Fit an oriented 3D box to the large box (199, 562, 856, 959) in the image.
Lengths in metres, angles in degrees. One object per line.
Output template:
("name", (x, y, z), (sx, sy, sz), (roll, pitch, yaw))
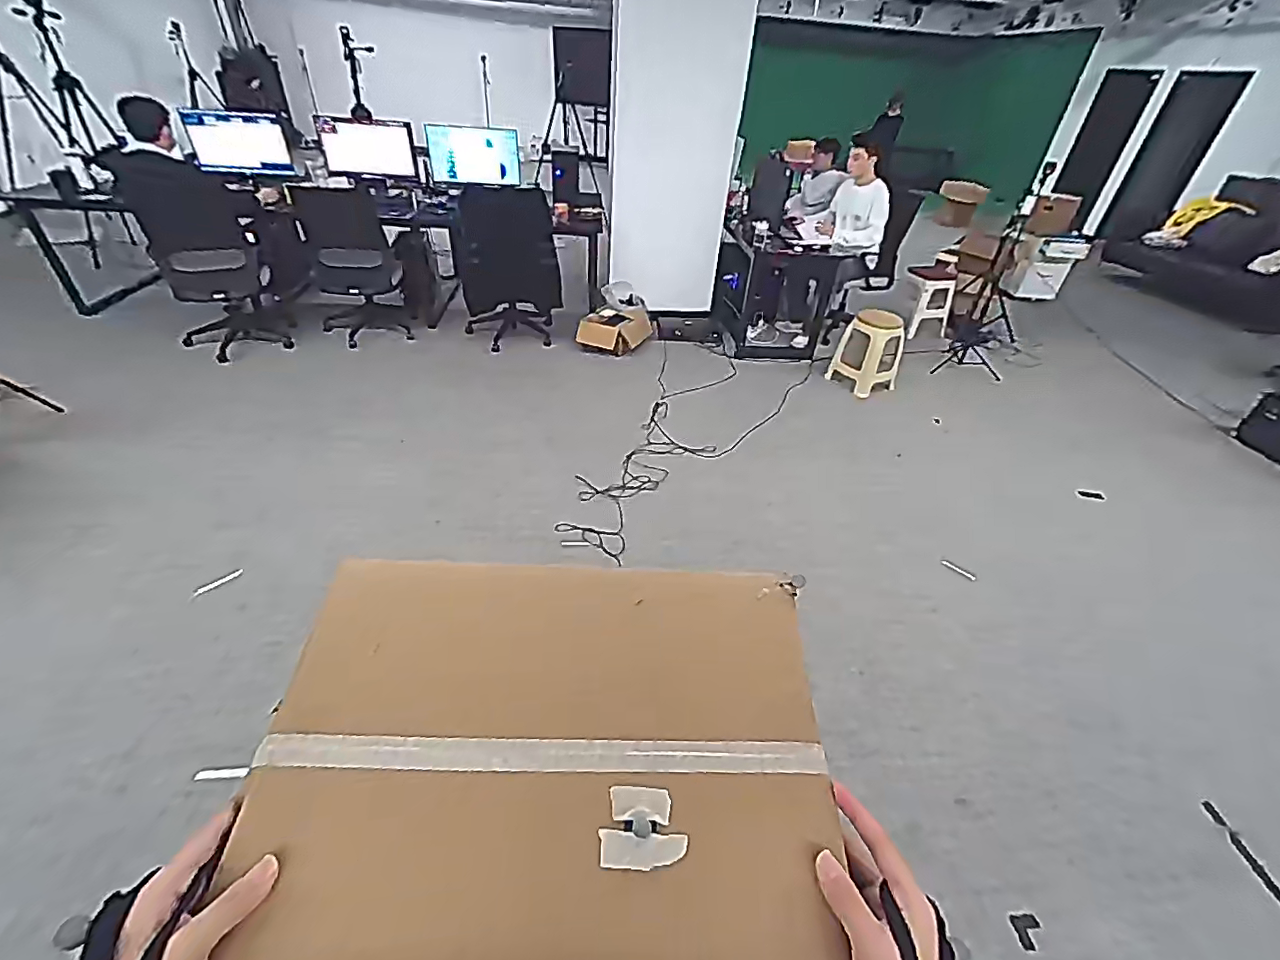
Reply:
("large box", (-0.074, 0.295, 0.518), (0.408, 0.320, 0.320), (3, 51, -2))
